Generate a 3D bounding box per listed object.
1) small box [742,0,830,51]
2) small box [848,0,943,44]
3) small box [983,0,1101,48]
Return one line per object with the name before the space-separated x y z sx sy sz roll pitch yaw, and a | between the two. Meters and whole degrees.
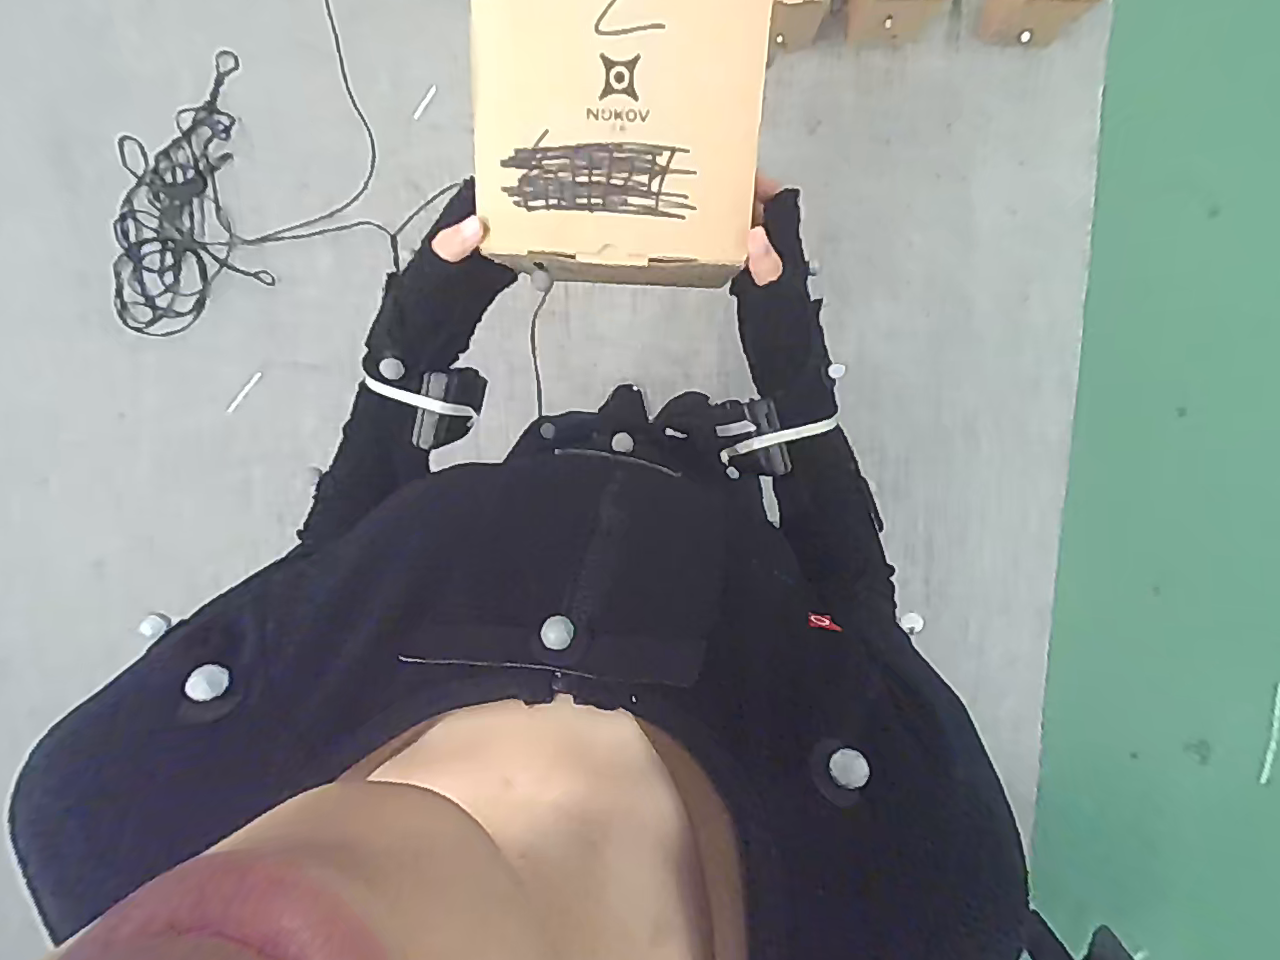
small box | 0.325 -1.116 1.217 0.168 0.176 0.179 0 99 2
small box | 0.581 -1.124 1.217 0.168 0.176 0.179 -1 97 1
small box | 0.907 -1.121 1.212 0.168 0.176 0.179 3 99 0
